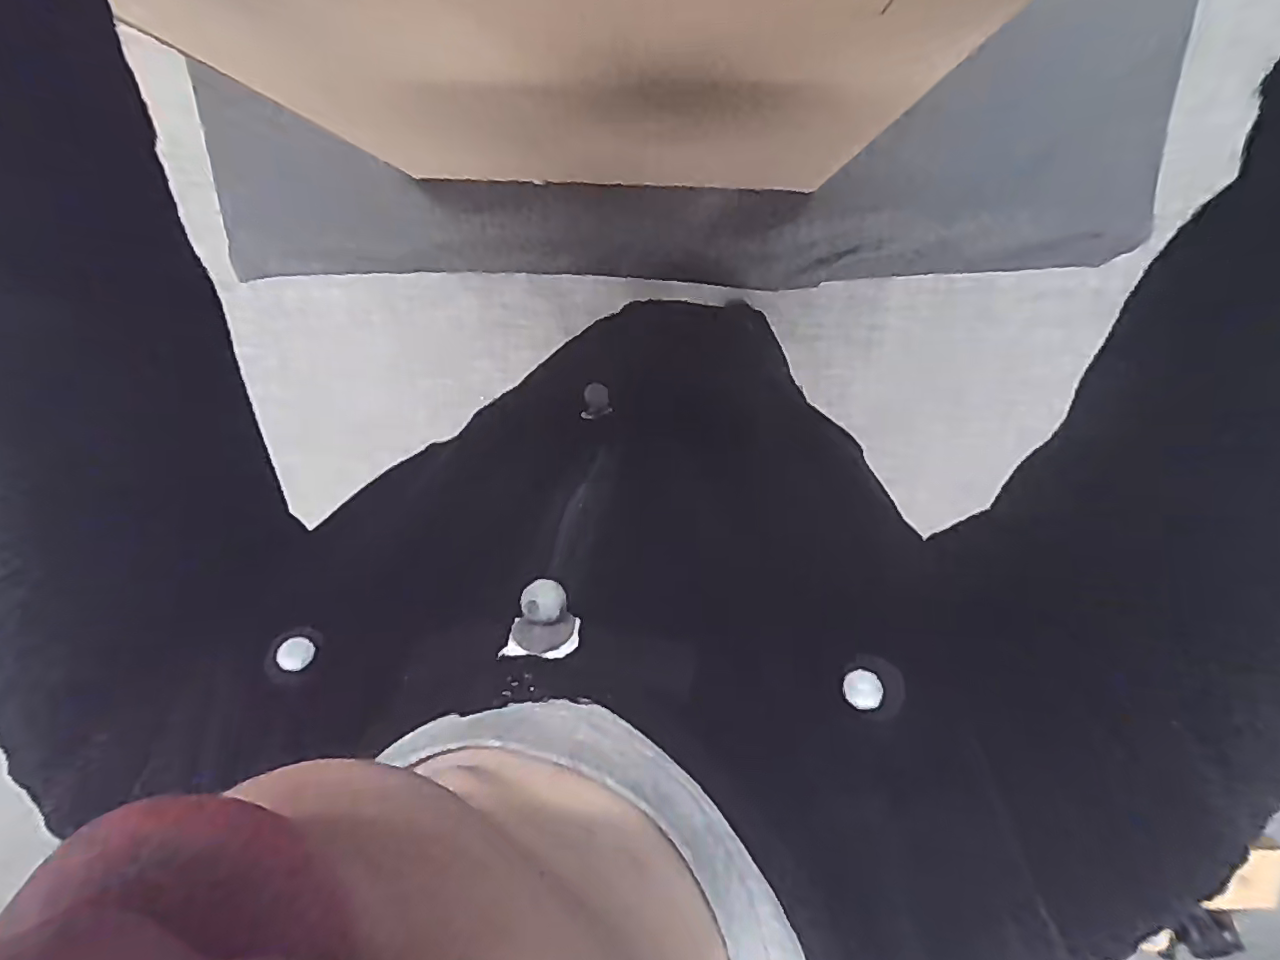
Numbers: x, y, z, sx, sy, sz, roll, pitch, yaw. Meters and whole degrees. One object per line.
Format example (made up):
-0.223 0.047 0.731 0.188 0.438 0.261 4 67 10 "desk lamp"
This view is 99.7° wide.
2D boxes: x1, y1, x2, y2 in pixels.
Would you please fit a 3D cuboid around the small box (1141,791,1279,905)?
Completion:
1.424 0.922 1.364 0.168 0.176 0.179 -4 103 4 "small box"
